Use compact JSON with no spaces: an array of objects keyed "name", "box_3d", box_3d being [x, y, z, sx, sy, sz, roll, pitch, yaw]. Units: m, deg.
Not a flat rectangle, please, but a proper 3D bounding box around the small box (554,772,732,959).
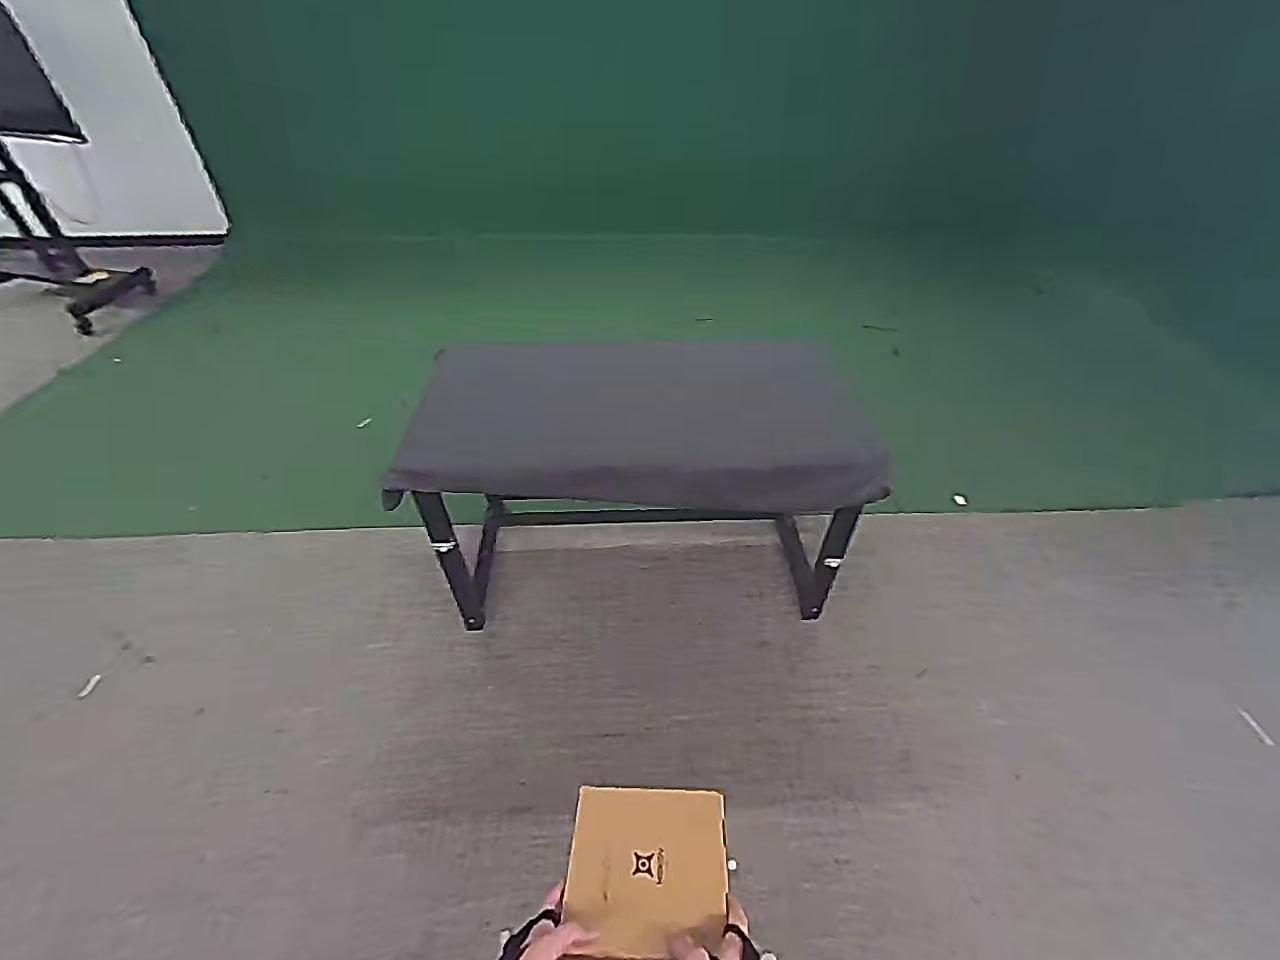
[{"name":"small box","box_3d":[0.012,0.474,0.633,0.179,0.176,0.168,0,31,6]}]
